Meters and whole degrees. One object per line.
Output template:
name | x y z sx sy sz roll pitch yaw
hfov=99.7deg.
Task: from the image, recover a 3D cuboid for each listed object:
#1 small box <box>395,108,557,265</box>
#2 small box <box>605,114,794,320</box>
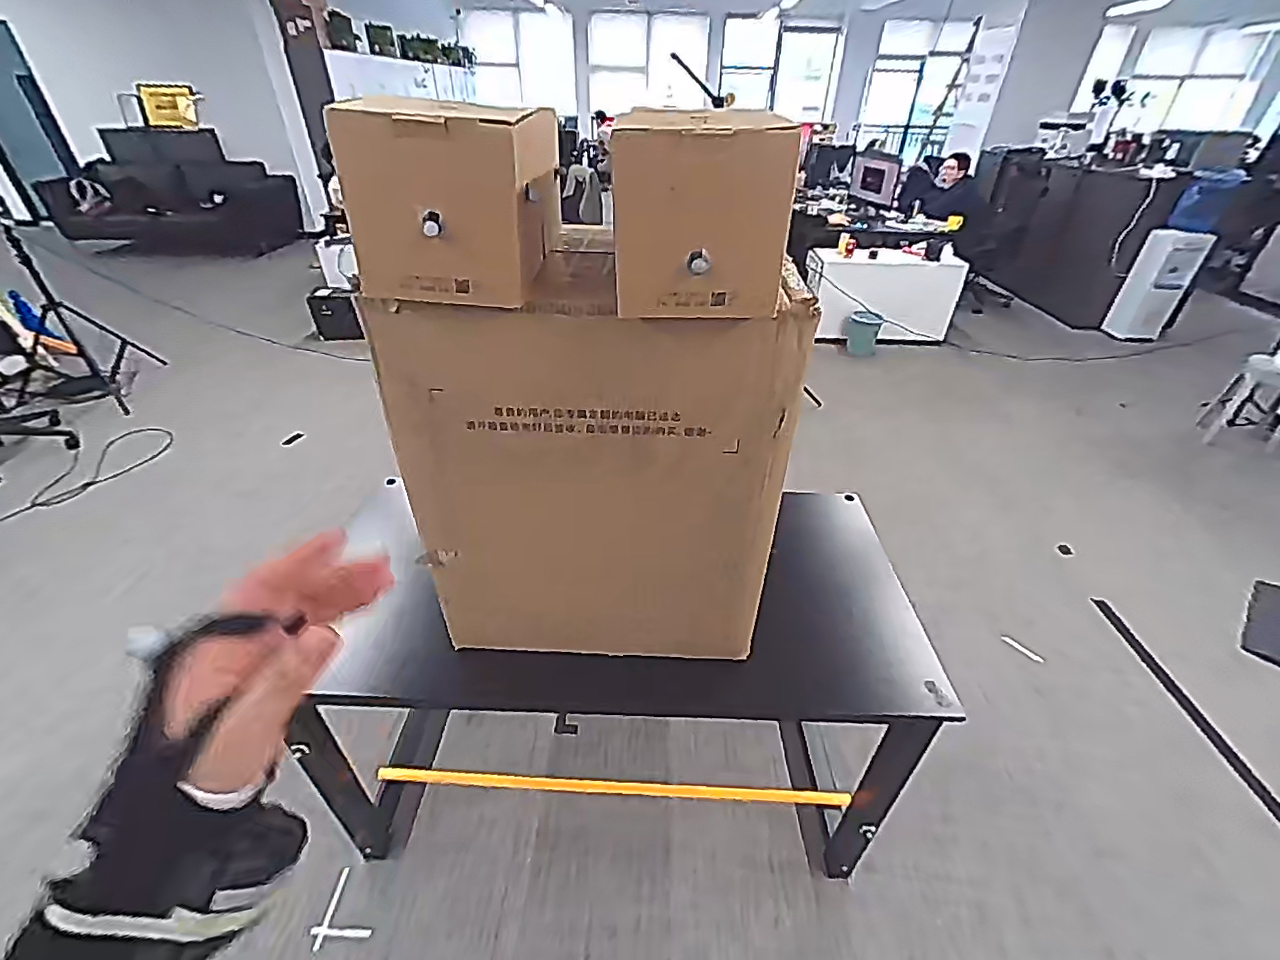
small box | -0.208 -0.406 0.745 0.168 0.176 0.179 1 35 0
small box | 0.054 -0.283 0.577 0.168 0.176 0.179 0 38 2
